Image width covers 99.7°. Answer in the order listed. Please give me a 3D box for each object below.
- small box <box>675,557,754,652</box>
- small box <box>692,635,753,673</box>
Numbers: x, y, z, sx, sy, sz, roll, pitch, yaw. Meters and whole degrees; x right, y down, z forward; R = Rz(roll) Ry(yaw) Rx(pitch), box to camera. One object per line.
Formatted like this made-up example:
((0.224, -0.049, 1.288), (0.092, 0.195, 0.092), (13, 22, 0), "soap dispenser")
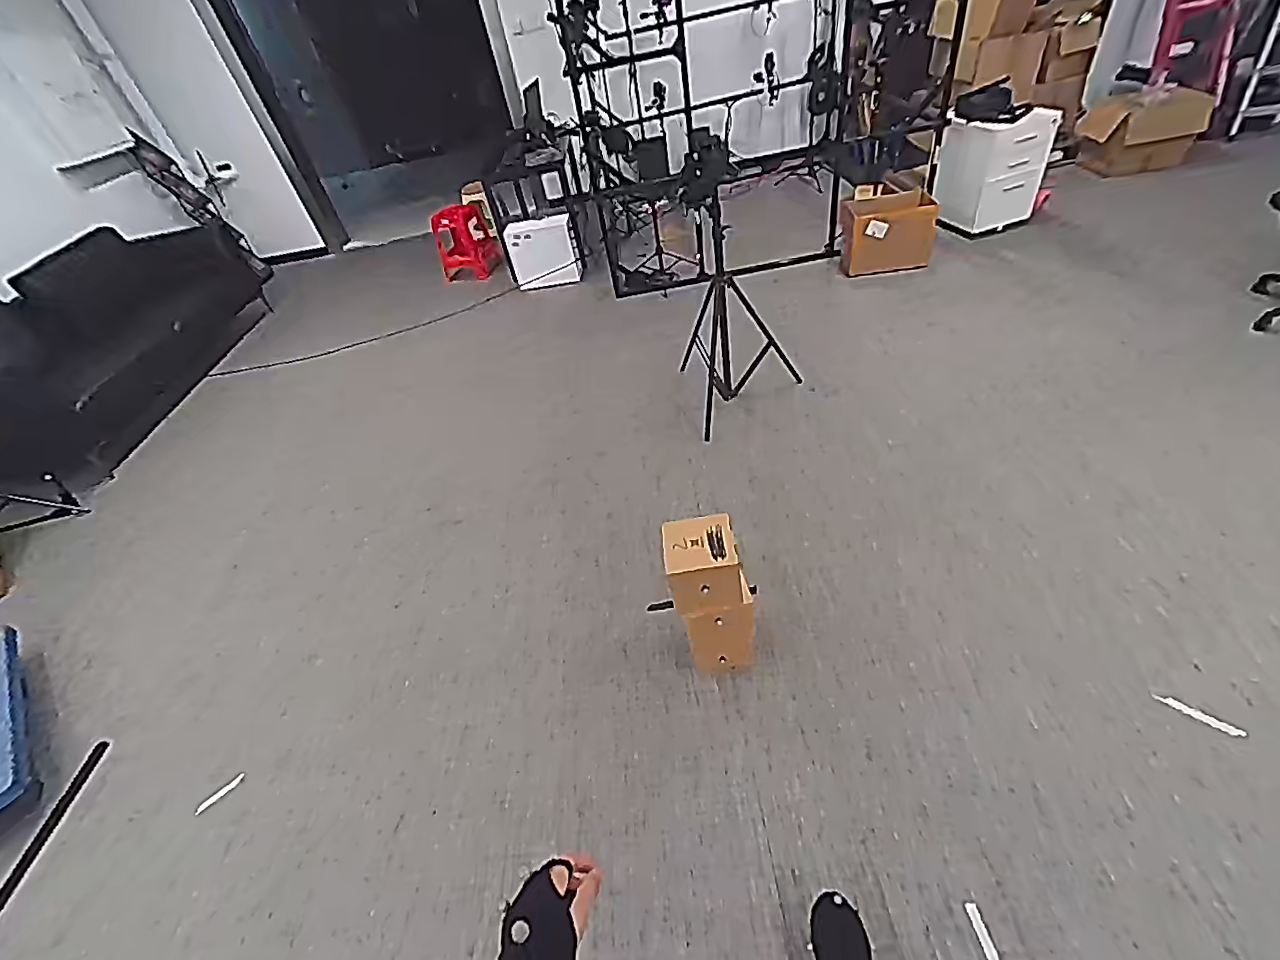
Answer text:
((0.203, 0.340, 1.473), (0.179, 0.176, 0.168), (-14, 42, 0), "small box")
((0.236, 0.451, 1.588), (0.168, 0.176, 0.179), (-8, 42, 6), "small box")
